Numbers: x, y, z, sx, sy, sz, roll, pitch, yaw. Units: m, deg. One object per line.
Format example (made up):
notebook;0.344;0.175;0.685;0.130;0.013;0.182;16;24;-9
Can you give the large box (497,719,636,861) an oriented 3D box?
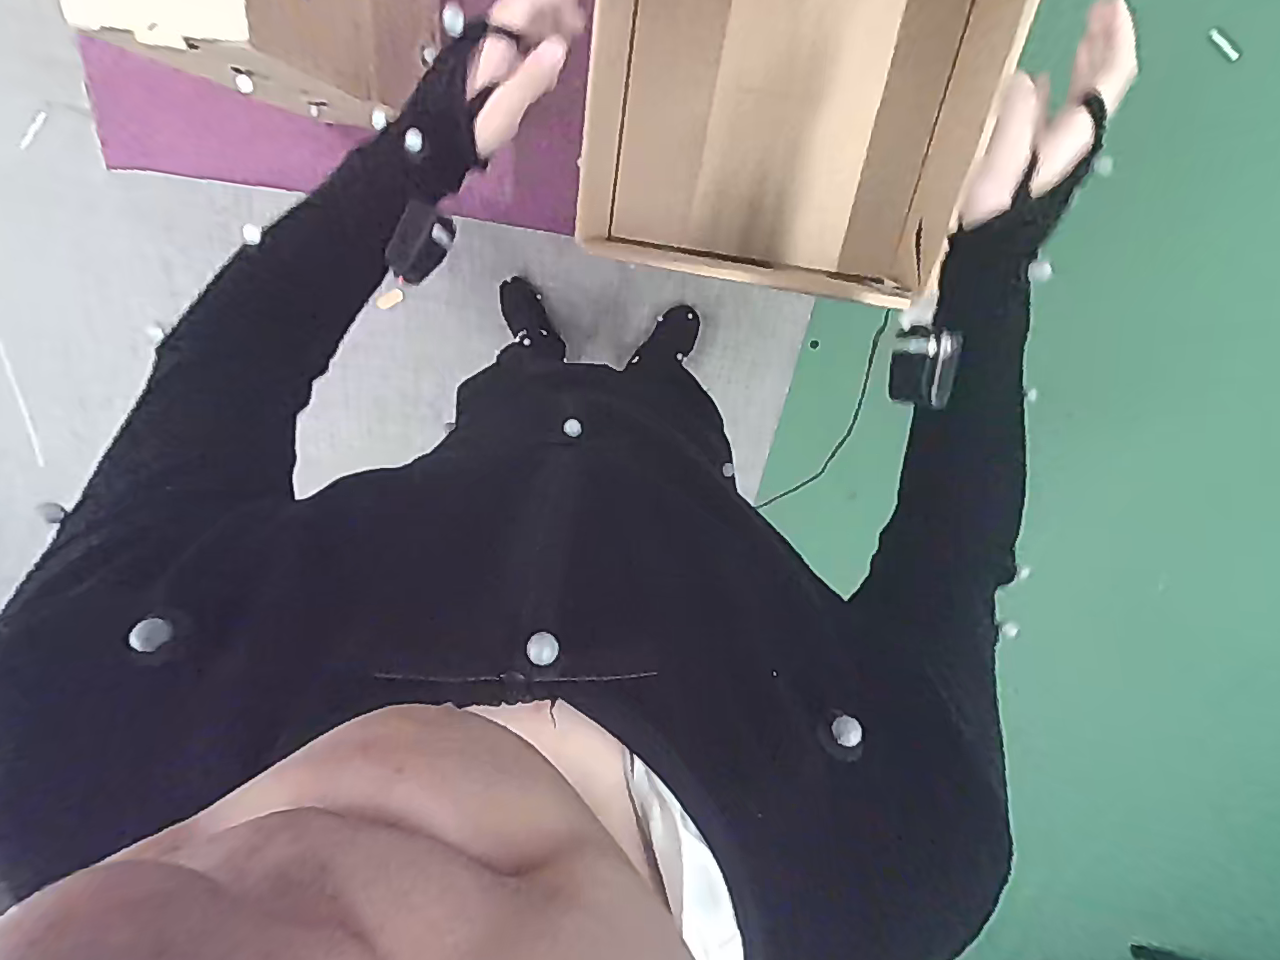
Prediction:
large box;-0.266;1.185;2.078;0.408;0.320;0.320;-19;110;13

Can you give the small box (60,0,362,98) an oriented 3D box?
small box;-0.372;-0.468;0.482;0.168;0.176;0.179;9;113;2

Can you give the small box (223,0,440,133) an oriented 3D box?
small box;-0.355;-0.526;0.634;0.179;0.176;0.168;8;113;2
